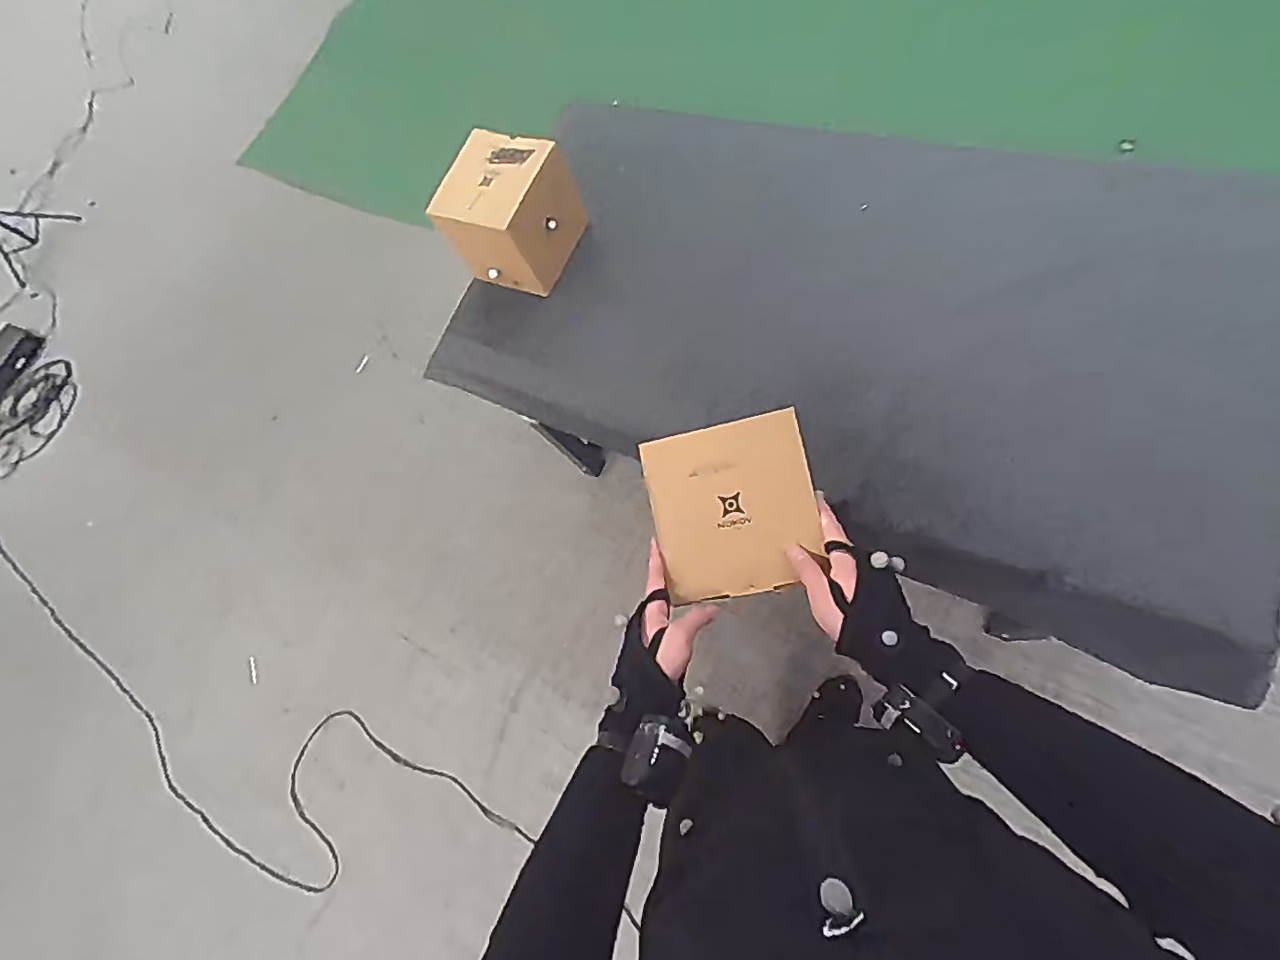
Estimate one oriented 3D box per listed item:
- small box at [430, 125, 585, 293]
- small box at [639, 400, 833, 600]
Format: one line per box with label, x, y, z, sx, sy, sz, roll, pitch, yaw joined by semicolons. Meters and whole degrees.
small box;-0.212;-0.457;0.924;0.168;0.176;0.179;21;79;20
small box;0.108;0.027;0.616;0.168;0.176;0.179;-13;81;9
